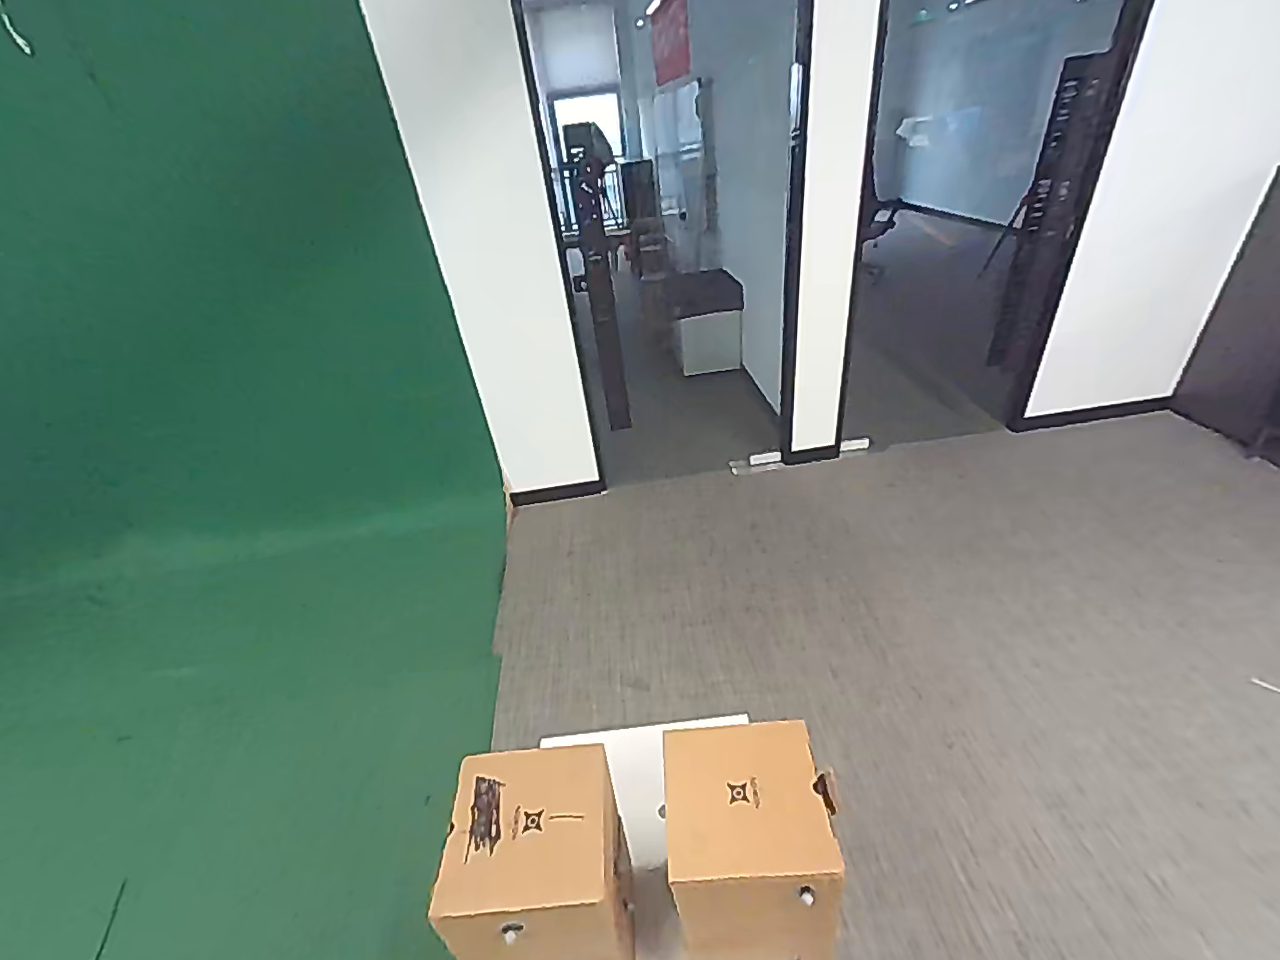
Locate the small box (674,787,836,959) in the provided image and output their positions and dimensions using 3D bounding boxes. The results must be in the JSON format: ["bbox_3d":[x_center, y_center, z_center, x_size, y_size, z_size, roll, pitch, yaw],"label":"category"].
[{"bbox_3d":[0.145,0.544,0.727,0.179,0.176,0.168,-8,33,3],"label":"small box"}]

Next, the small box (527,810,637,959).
[{"bbox_3d":[-0.099,0.575,0.726,0.179,0.176,0.168,-5,34,0],"label":"small box"}]

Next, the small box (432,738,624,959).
[{"bbox_3d":[-0.116,0.435,0.637,0.179,0.176,0.168,-5,34,0],"label":"small box"}]
